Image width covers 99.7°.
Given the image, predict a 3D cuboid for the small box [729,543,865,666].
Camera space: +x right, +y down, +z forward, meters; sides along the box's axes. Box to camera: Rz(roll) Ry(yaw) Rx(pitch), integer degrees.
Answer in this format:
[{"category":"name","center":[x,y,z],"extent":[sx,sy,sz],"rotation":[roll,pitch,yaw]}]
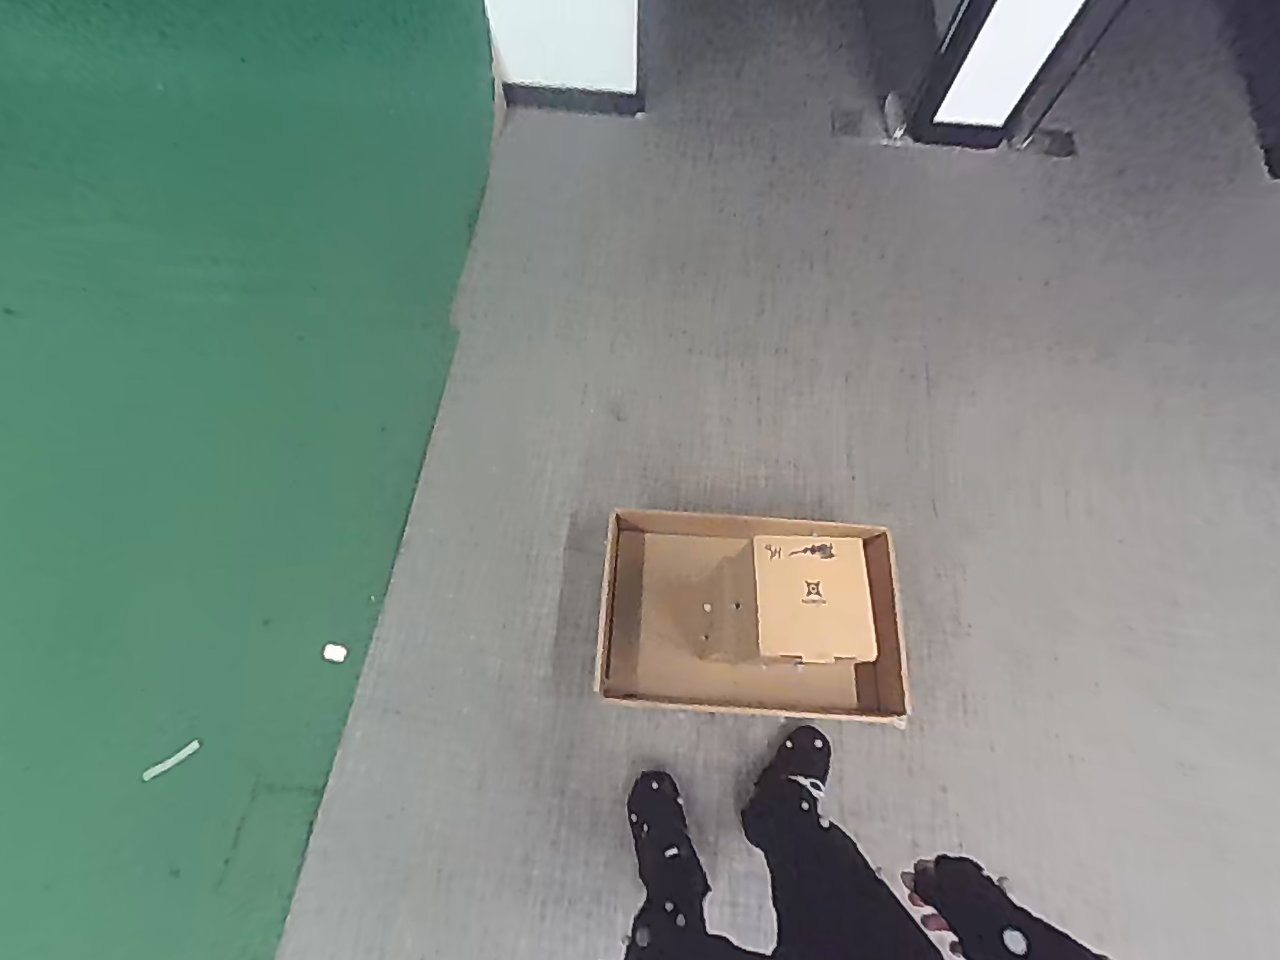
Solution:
[{"category":"small box","center":[0.242,0.207,0.875],"extent":[0.168,0.176,0.179],"rotation":[0,68,0]}]

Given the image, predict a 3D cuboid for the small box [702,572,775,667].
[{"category":"small box","center":[0.227,0.305,1.167],"extent":[0.168,0.176,0.179],"rotation":[3,68,0]}]

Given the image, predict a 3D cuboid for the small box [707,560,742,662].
[{"category":"small box","center":[0.229,0.257,1.028],"extent":[0.179,0.176,0.168],"rotation":[4,68,1]}]
